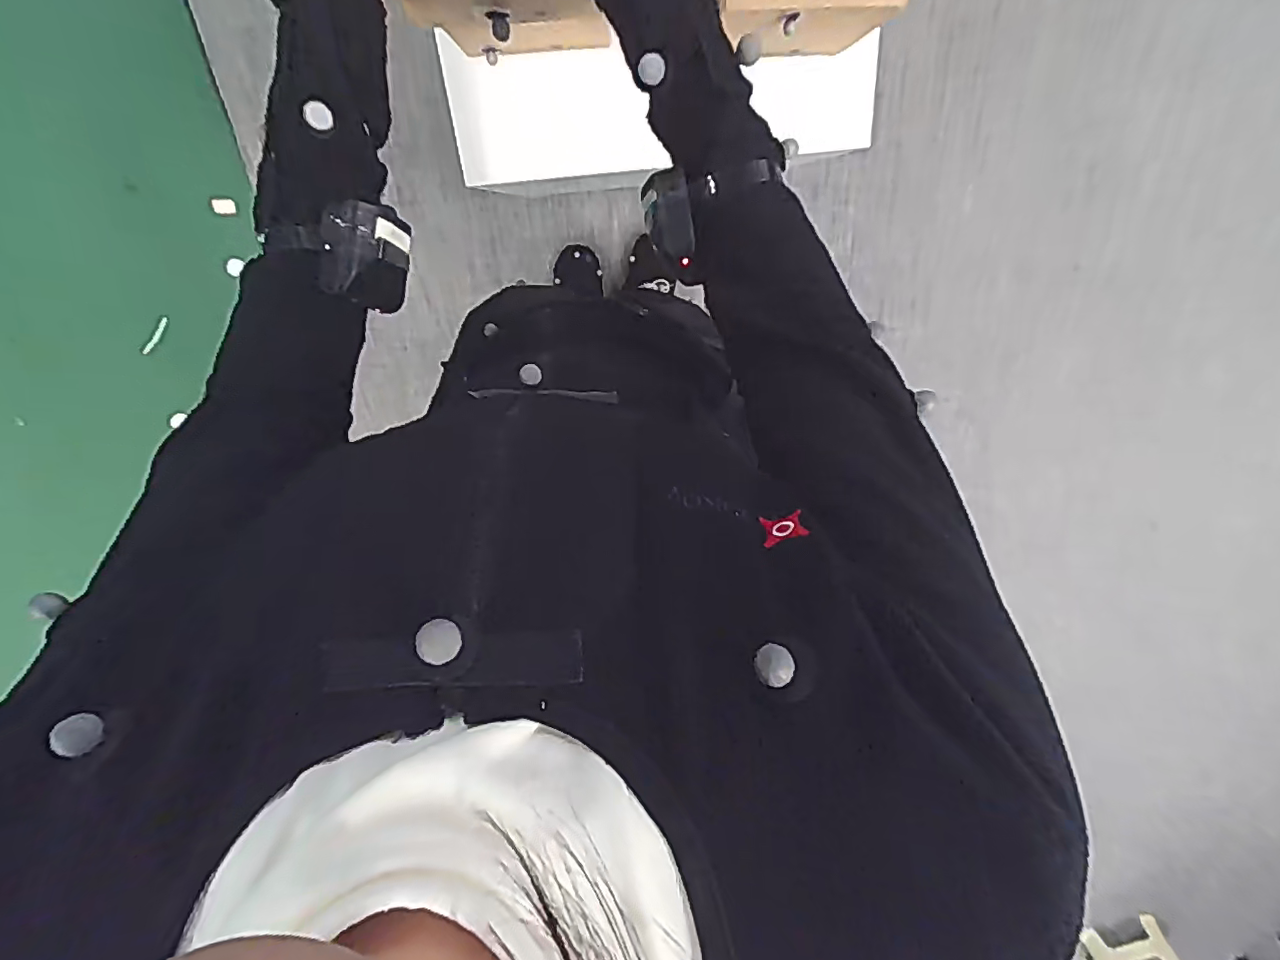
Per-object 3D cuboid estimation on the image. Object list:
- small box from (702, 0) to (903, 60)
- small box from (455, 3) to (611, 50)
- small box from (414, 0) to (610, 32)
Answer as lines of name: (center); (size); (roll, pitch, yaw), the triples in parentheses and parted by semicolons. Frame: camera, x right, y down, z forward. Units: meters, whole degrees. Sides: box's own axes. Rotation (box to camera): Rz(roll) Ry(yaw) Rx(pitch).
small box: (0.152, -0.536, 0.521); (0.168, 0.176, 0.179); (-1, 116, 0)
small box: (-0.117, -0.534, 0.512); (0.168, 0.176, 0.179); (-5, 116, -1)
small box: (-0.110, -0.449, 0.374); (0.168, 0.176, 0.179); (-5, 117, 1)
